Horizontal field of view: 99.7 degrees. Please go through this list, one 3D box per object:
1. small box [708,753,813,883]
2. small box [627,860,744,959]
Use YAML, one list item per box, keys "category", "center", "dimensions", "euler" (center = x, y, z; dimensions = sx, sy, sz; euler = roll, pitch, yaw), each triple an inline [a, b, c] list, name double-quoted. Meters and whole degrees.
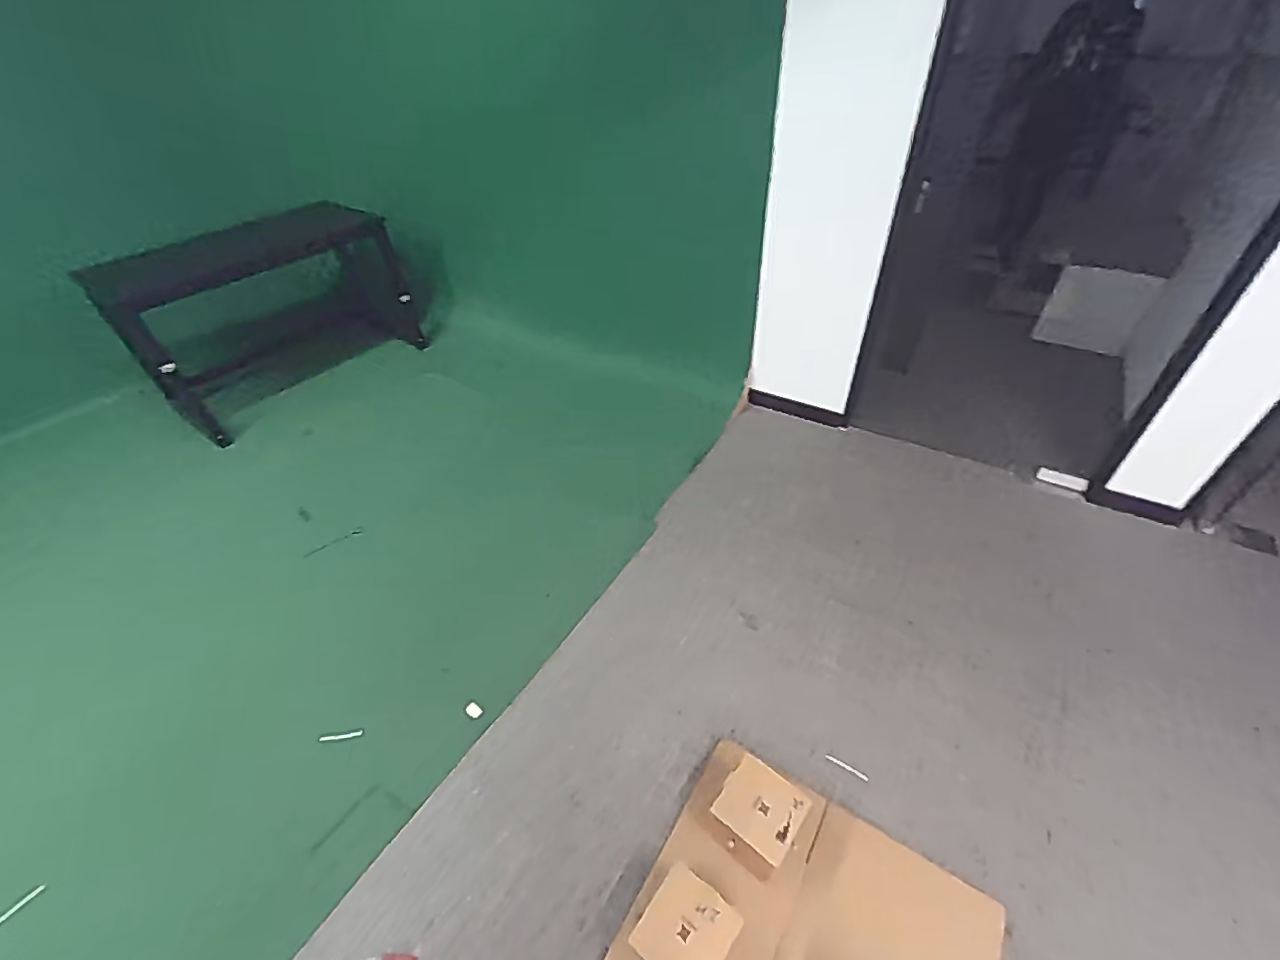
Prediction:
- category: "small box"
  center: [0.272, 0.785, 1.252]
  dimensions: [0.179, 0.176, 0.168]
  euler: [28, 51, 30]
- category: "small box"
  center: [0.093, 0.933, 1.099]
  dimensions: [0.168, 0.176, 0.179]
  euler: [28, 50, 28]
